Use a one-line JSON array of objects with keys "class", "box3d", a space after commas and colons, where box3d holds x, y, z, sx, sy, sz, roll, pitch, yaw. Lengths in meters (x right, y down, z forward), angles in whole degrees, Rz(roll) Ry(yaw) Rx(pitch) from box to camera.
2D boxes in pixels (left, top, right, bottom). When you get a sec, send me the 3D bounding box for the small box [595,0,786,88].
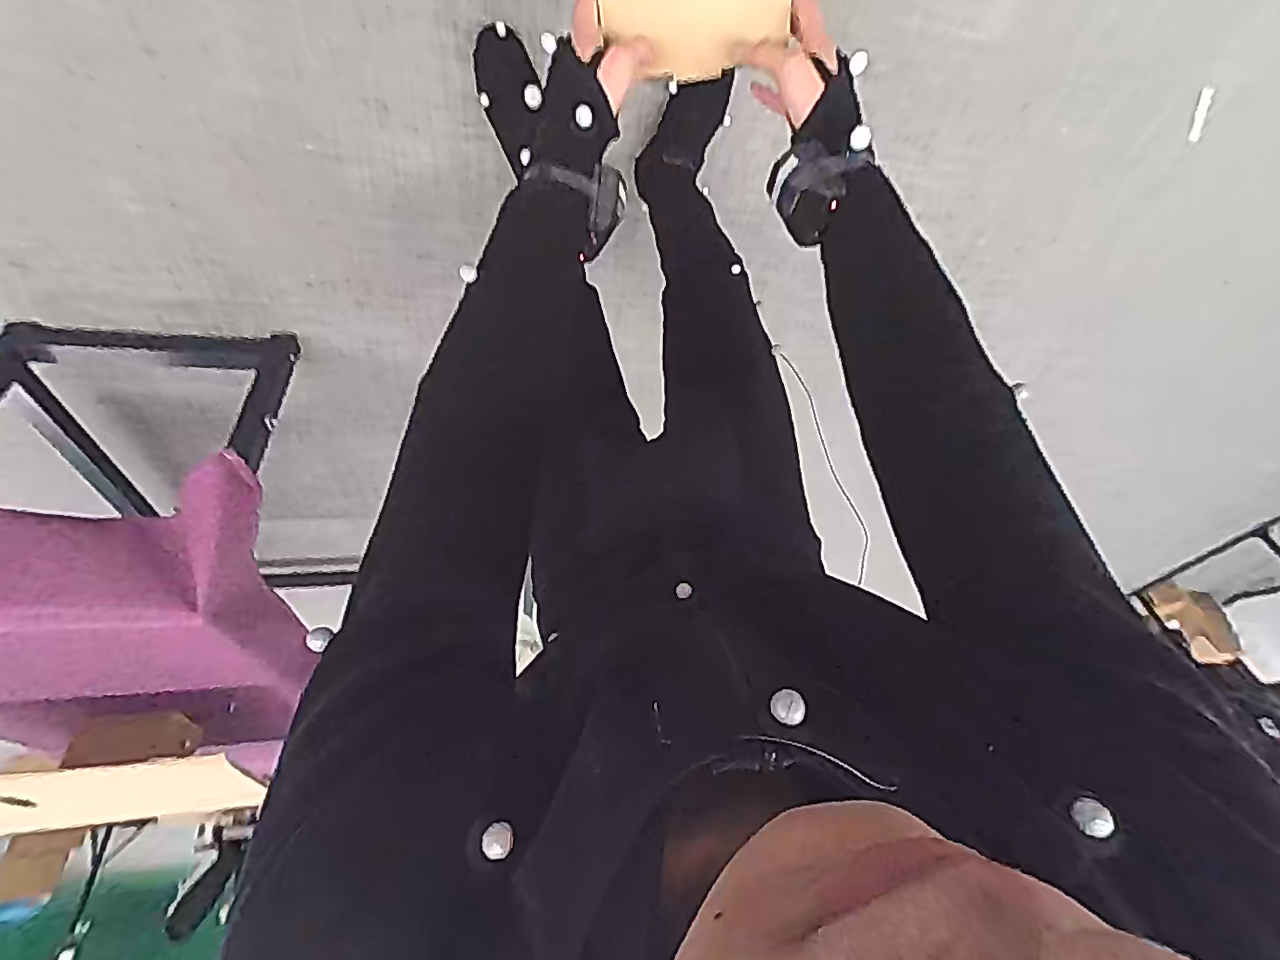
[{"class": "small box", "box3d": [0.038, -0.491, 0.485, 0.168, 0.176, 0.179, -6, 141, 3]}]
